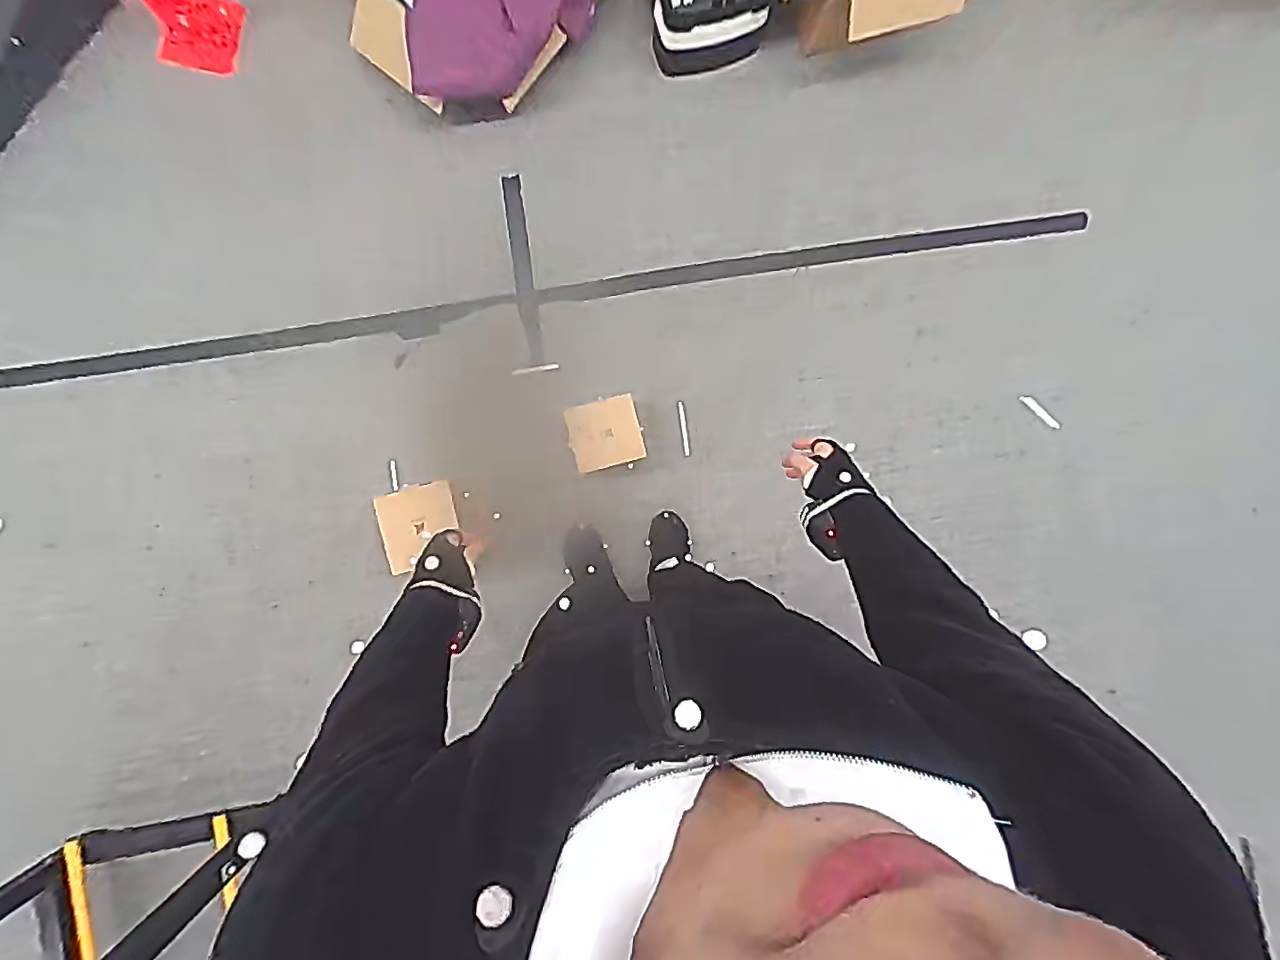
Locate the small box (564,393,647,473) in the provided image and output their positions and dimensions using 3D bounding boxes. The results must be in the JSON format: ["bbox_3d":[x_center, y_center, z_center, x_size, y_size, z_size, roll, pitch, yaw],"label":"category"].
[{"bbox_3d":[-0.088,-0.117,1.408,0.179,0.176,0.168,-15,91,-2],"label":"small box"}]

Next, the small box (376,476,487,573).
[{"bbox_3d":[-0.466,0.095,1.231,0.168,0.176,0.179,-15,92,0],"label":"small box"}]
